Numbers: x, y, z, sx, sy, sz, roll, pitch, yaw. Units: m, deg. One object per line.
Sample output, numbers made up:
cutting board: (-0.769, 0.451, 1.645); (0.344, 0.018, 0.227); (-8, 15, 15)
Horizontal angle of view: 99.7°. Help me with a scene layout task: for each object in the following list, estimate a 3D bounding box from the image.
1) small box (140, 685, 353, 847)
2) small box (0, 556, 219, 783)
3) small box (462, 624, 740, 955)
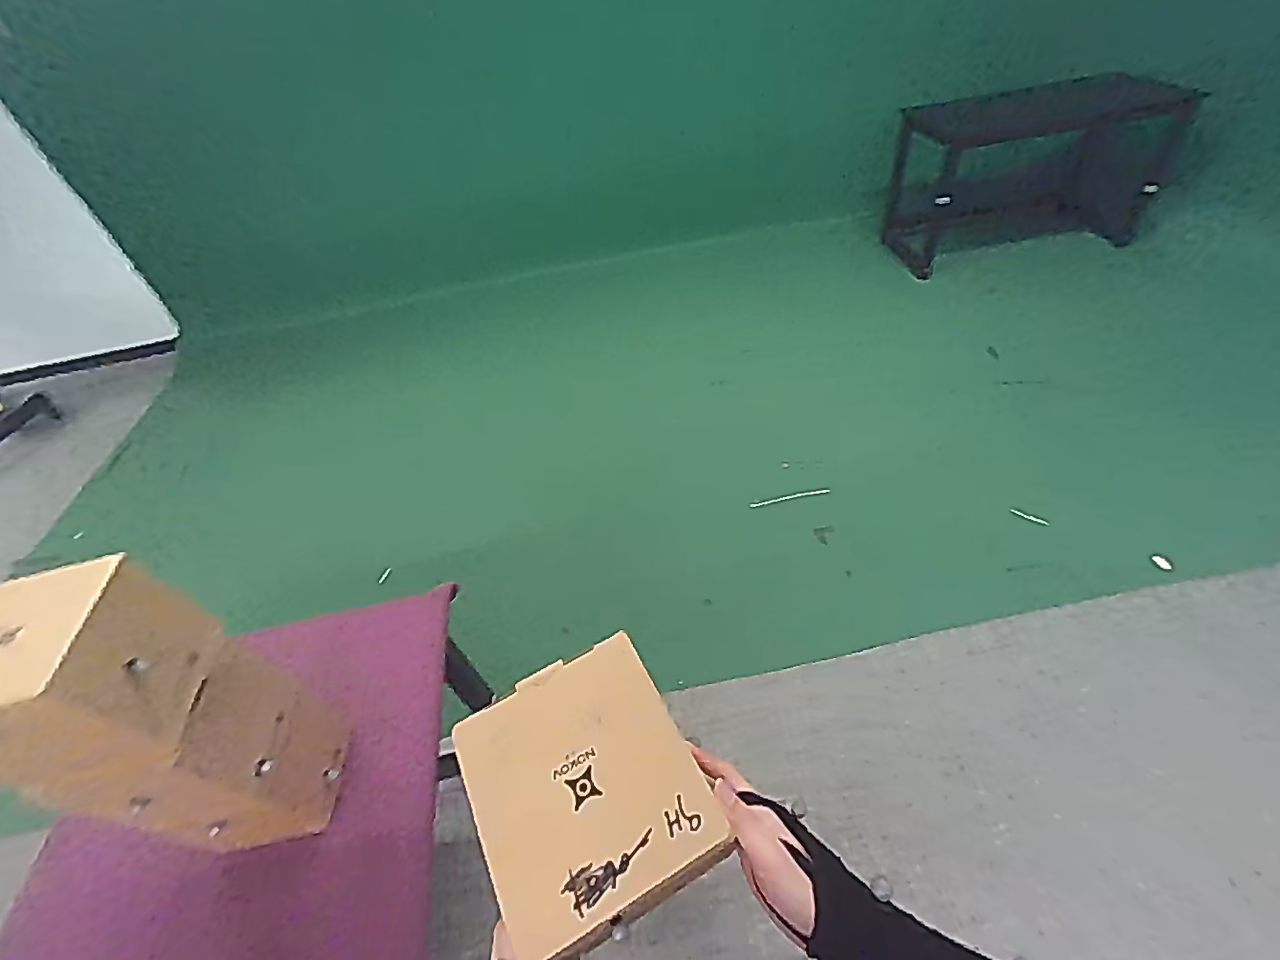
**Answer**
small box: (-0.585, 0.444, 0.833); (0.179, 0.176, 0.168); (-11, 47, 0)
small box: (-0.631, 0.215, 0.606); (0.179, 0.176, 0.168); (-15, 47, -1)
small box: (-0.028, 0.266, 0.474); (0.168, 0.176, 0.179); (-27, 53, -9)
